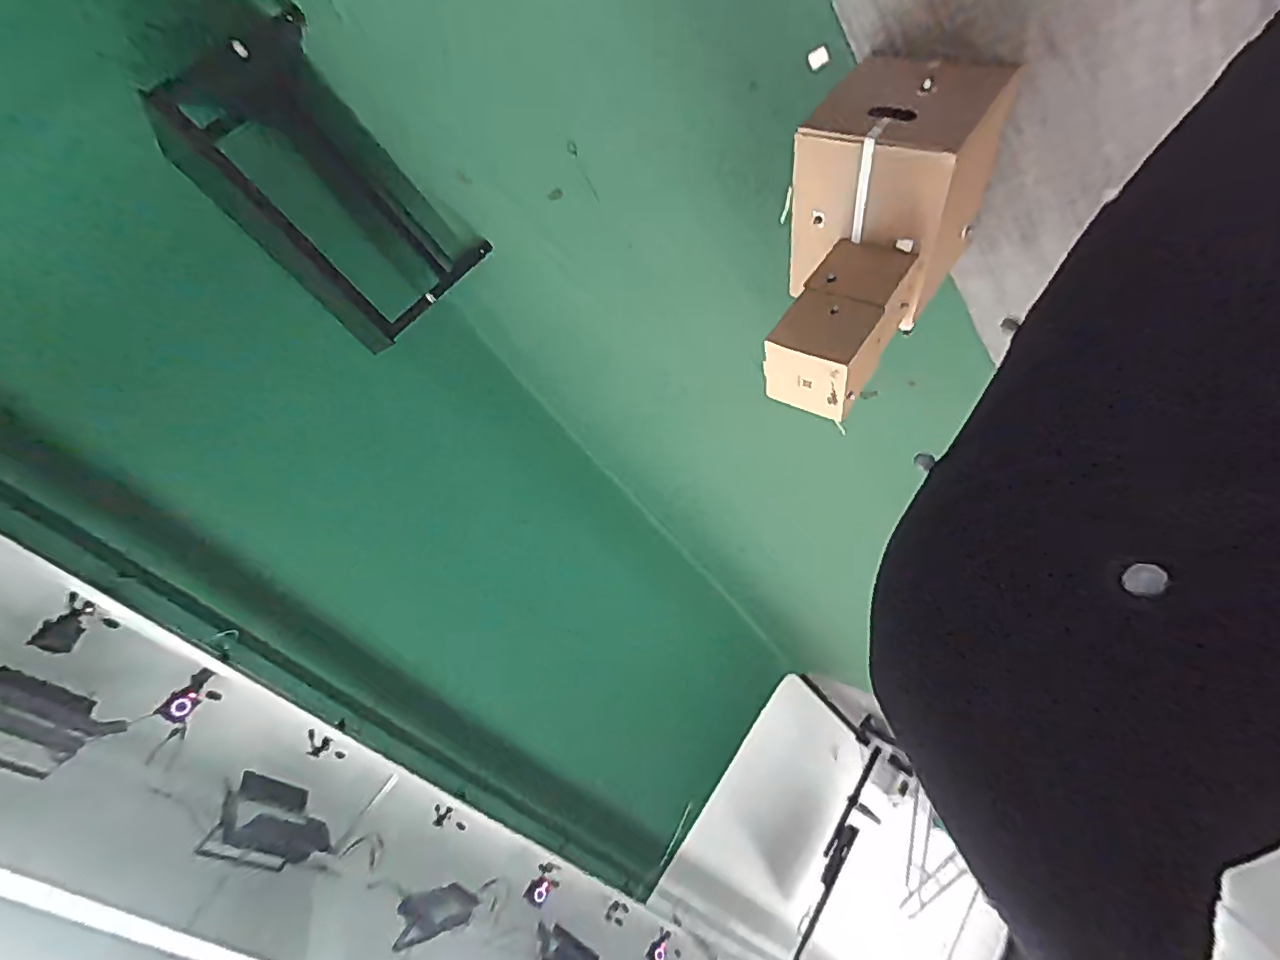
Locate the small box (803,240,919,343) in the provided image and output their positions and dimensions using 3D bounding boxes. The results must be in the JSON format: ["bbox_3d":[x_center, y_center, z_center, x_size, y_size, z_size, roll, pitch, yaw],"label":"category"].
[{"bbox_3d":[0.469,-0.391,1.171,0.179,0.176,0.168,27,158,27],"label":"small box"}]

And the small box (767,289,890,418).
[{"bbox_3d":[0.382,-0.265,1.112,0.179,0.176,0.168,28,159,28],"label":"small box"}]
